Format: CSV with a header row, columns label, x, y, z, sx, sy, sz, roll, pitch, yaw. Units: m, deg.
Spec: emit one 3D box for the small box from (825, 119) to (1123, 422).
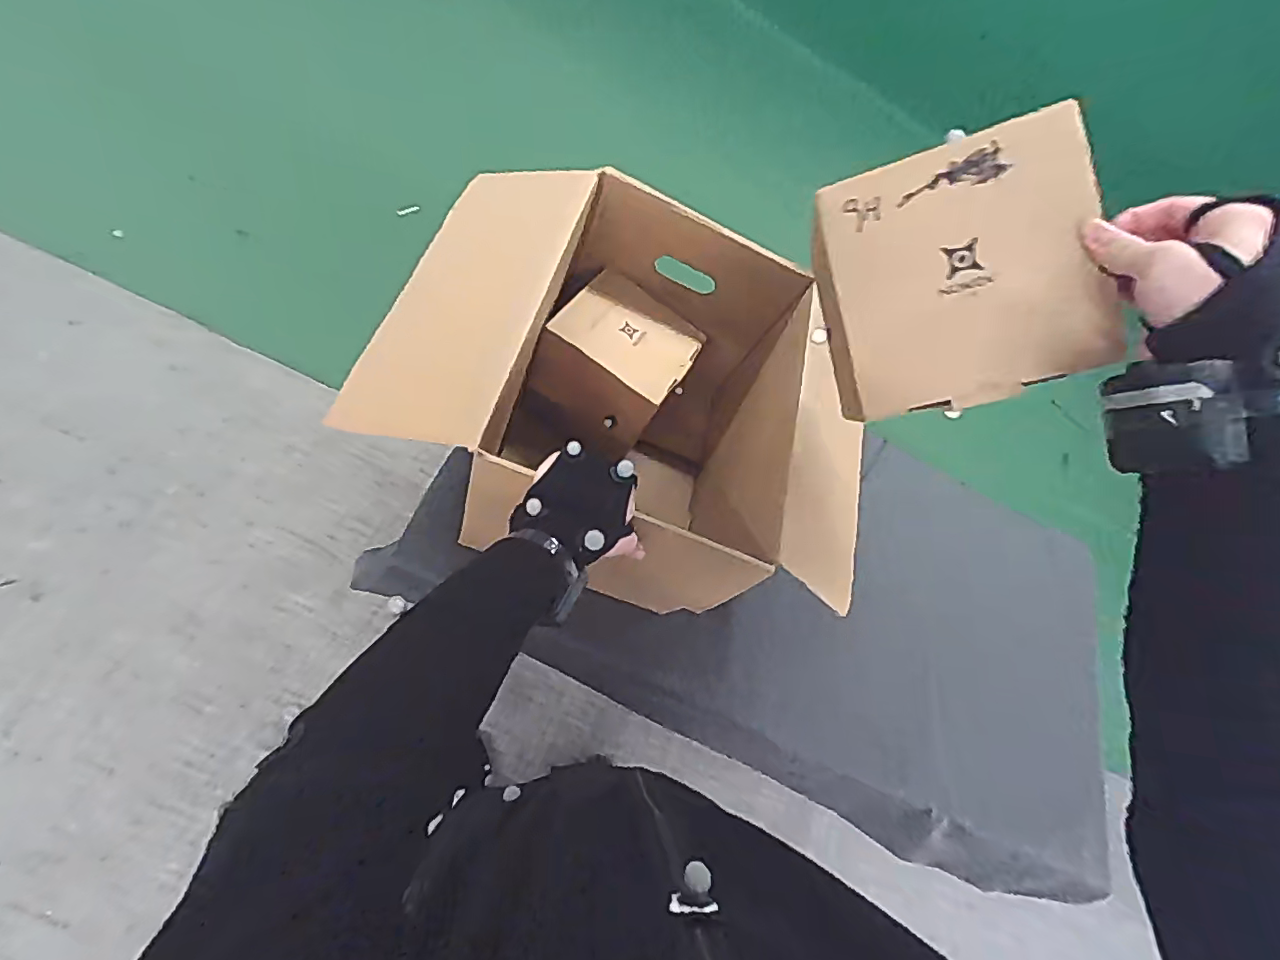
label,x,y,z,sx,sy,sz,roll,pitch,yaw
small box,0.261,-0.153,0.465,0.168,0.176,0.179,-12,93,17
